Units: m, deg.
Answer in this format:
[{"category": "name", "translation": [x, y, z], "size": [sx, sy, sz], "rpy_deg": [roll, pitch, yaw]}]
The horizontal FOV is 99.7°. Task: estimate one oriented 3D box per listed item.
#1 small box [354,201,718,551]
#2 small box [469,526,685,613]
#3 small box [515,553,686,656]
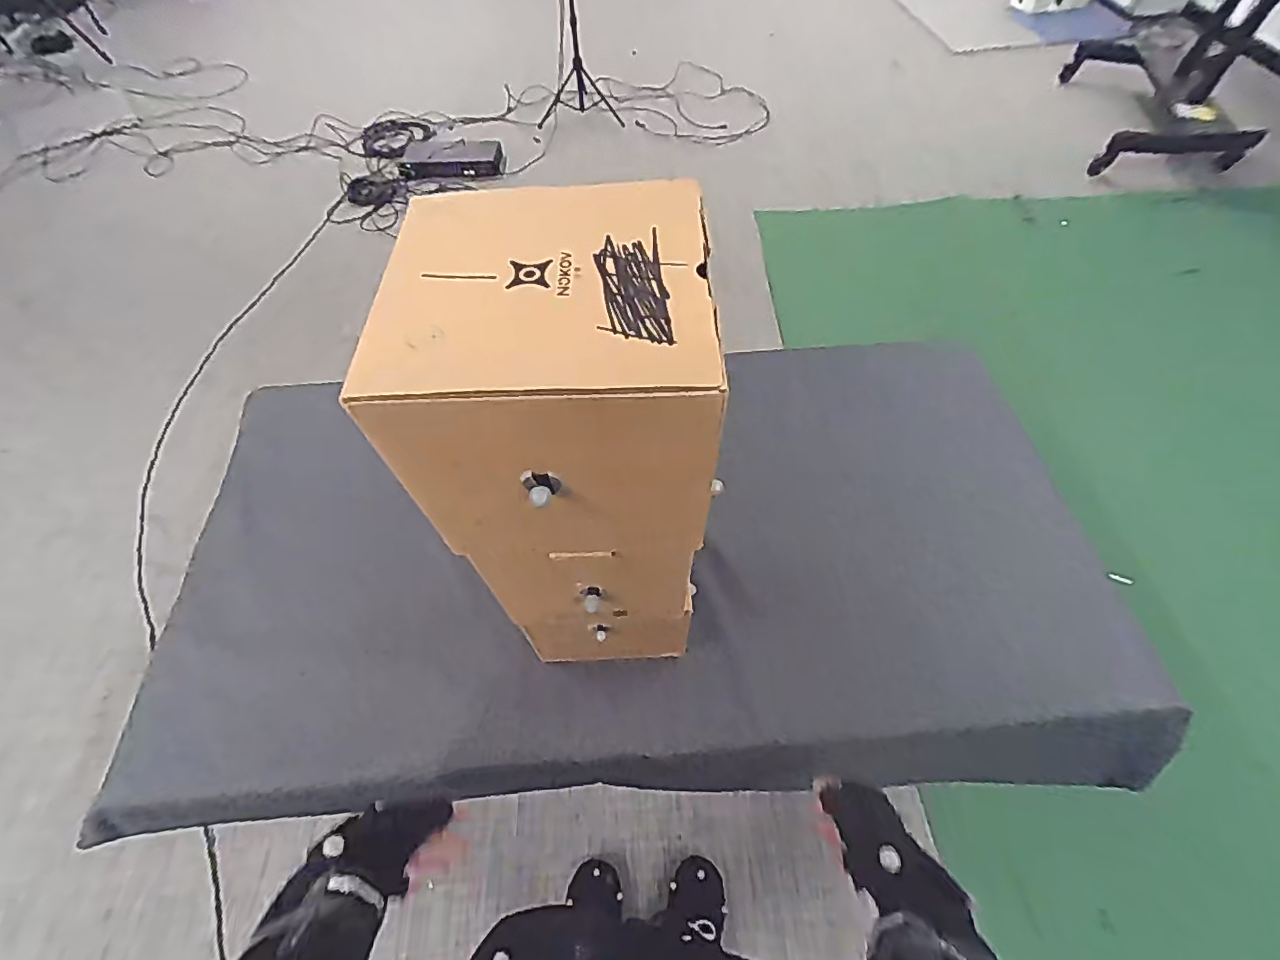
[{"category": "small box", "translation": [-0.049, -0.060, 0.364], "size": [0.179, 0.176, 0.168], "rpy_deg": [-2, 57, 1]}, {"category": "small box", "translation": [-0.047, 0.020, 0.509], "size": [0.168, 0.176, 0.179], "rpy_deg": [-2, 58, -1]}, {"category": "small box", "translation": [-0.041, 0.107, 0.648], "size": [0.179, 0.176, 0.168], "rpy_deg": [-2, 58, -2]}]
